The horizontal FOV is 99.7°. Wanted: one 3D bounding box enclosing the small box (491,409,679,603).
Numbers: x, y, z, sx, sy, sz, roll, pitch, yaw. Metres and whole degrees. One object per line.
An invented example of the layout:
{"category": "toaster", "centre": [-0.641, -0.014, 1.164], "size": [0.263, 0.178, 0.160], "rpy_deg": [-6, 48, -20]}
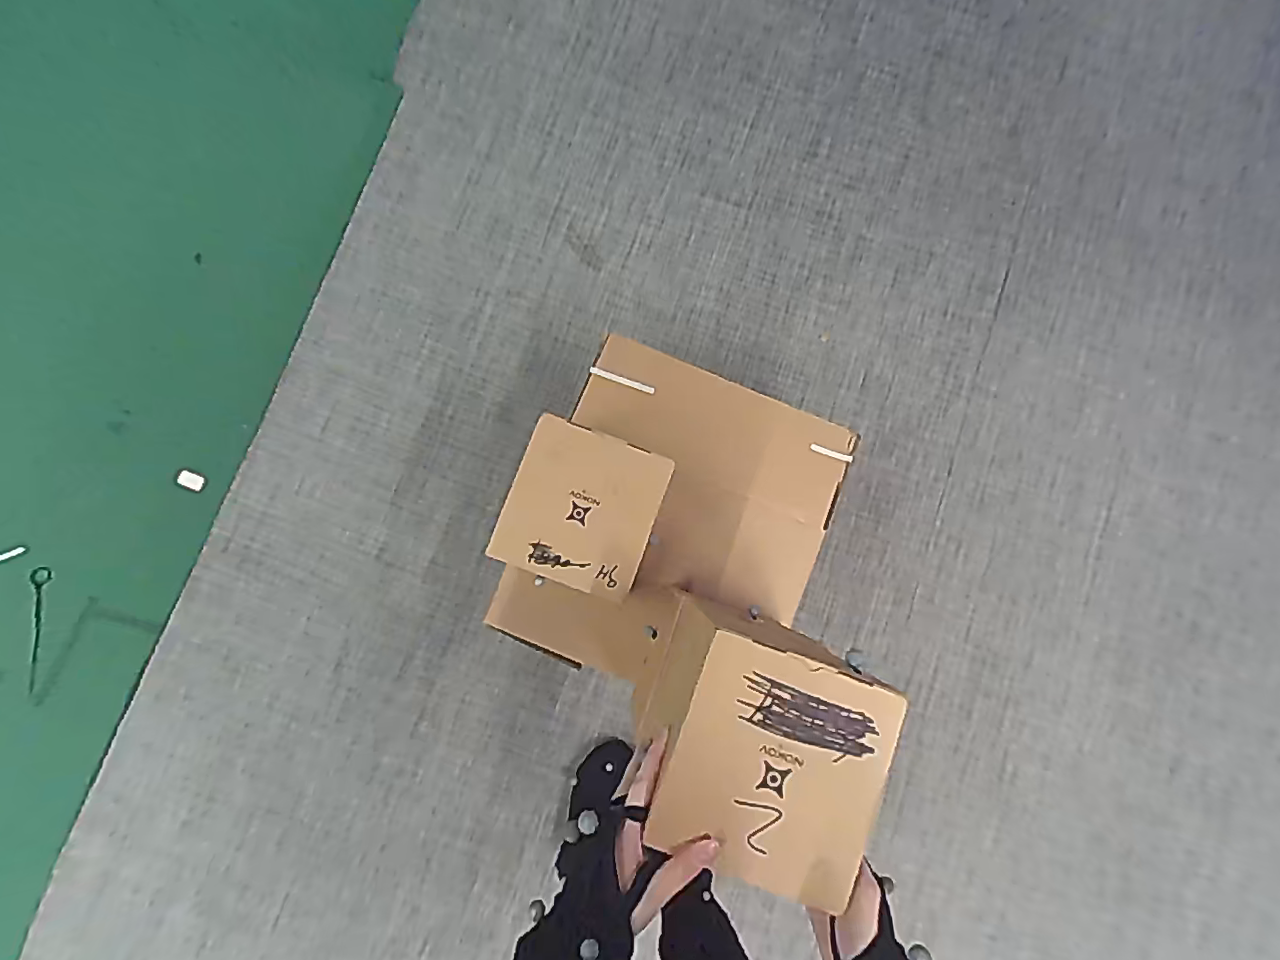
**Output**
{"category": "small box", "centre": [-0.065, 0.038, 0.679], "size": [0.168, 0.176, 0.179], "rpy_deg": [20, 82, 0]}

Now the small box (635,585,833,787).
{"category": "small box", "centre": [0.103, 0.234, 0.665], "size": [0.179, 0.176, 0.168], "rpy_deg": [19, 83, -1]}
